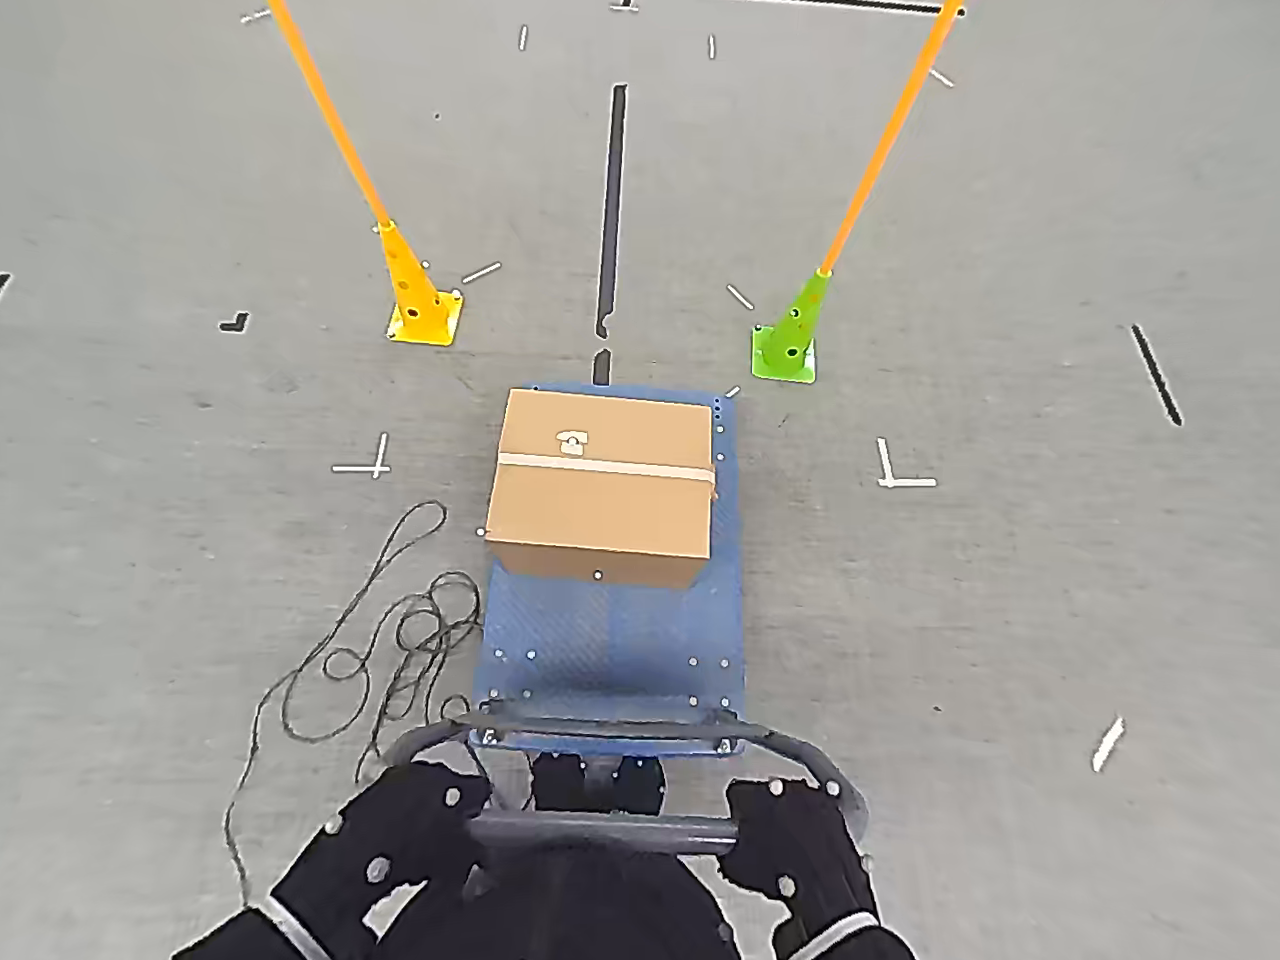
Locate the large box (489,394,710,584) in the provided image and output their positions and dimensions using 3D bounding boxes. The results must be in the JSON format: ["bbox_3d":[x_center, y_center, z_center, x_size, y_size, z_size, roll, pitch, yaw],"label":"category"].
[{"bbox_3d":[-0.070,0.036,1.165,0.408,0.320,0.320,5,68,-1],"label":"large box"}]

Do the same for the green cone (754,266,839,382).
[{"bbox_3d":[0.478,-0.472,1.570,0.202,0.368,0.200,7,67,-2],"label":"green cone"}]
